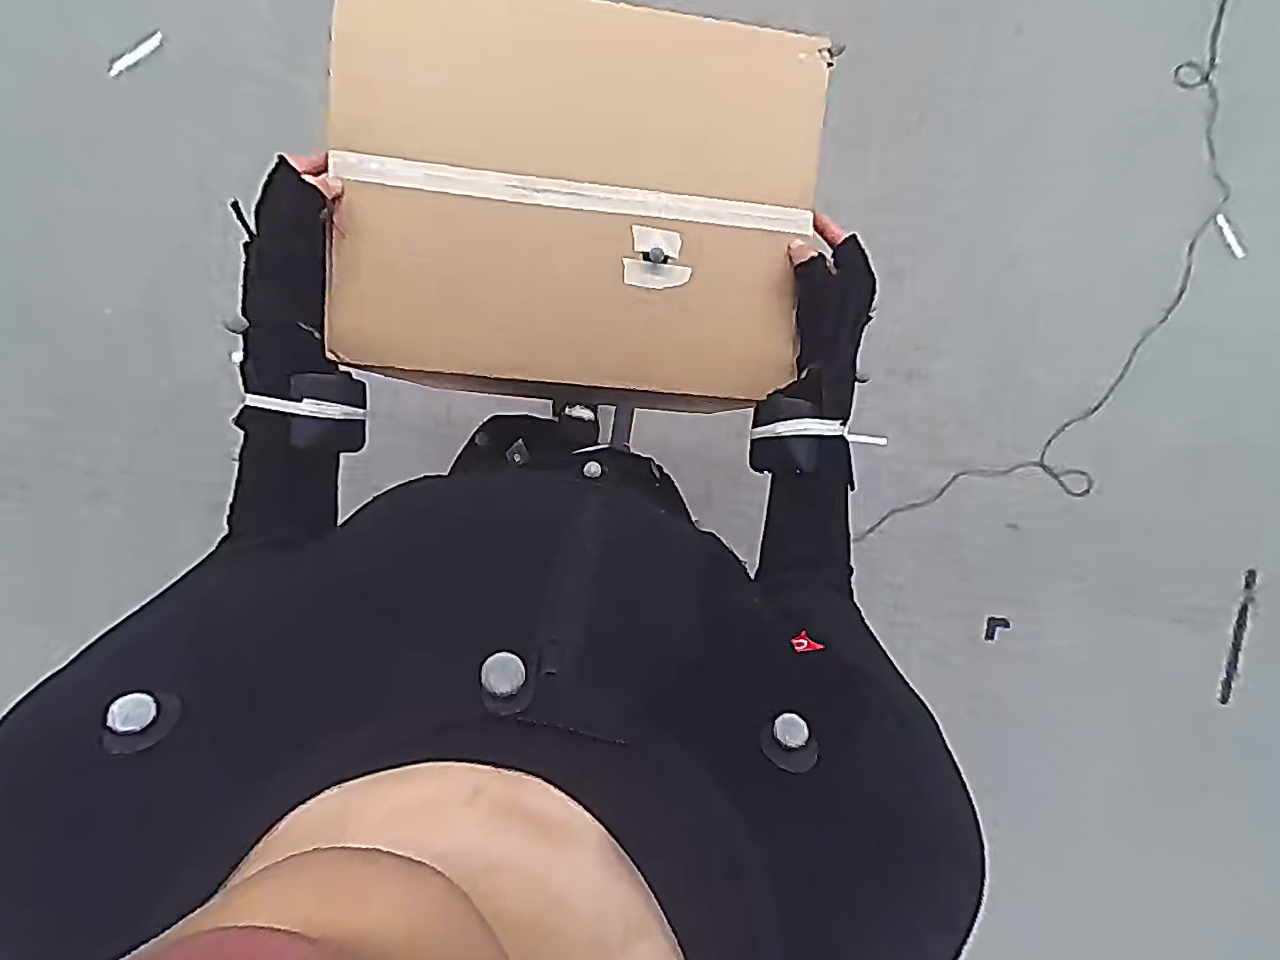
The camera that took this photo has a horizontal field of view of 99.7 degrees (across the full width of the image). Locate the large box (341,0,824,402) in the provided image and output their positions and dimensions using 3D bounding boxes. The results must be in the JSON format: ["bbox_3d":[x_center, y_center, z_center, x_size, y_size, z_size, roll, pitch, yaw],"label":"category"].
[{"bbox_3d":[-0.064,-0.263,0.612,0.408,0.320,0.320,5,96,-7],"label":"large box"}]
